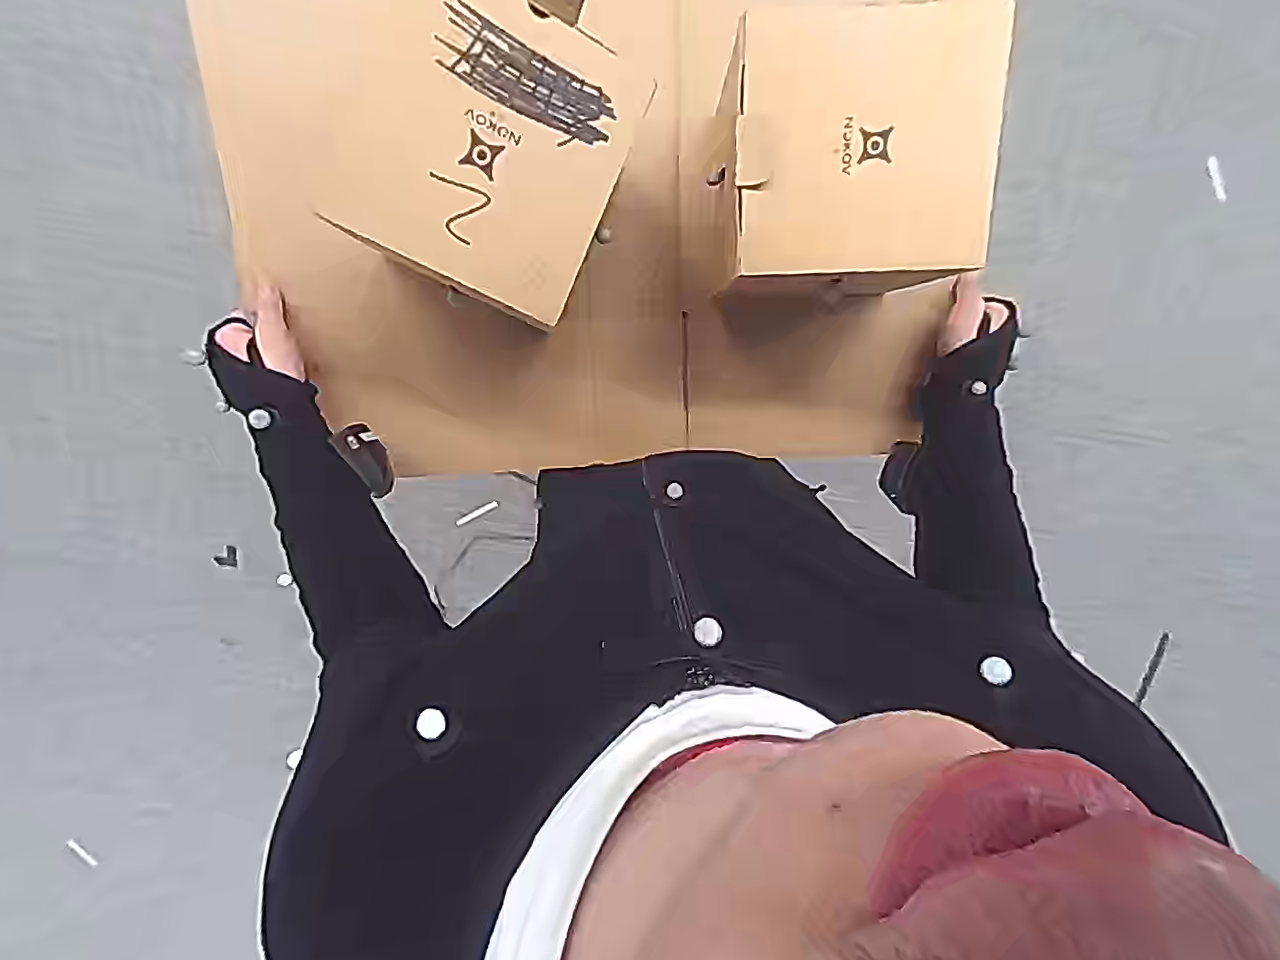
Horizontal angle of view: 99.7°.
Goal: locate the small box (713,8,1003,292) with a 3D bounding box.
[{"bbox_3d":[0.160,-0.255,0.460,0.179,0.176,0.168,-1,104,2],"label":"small box"}]
